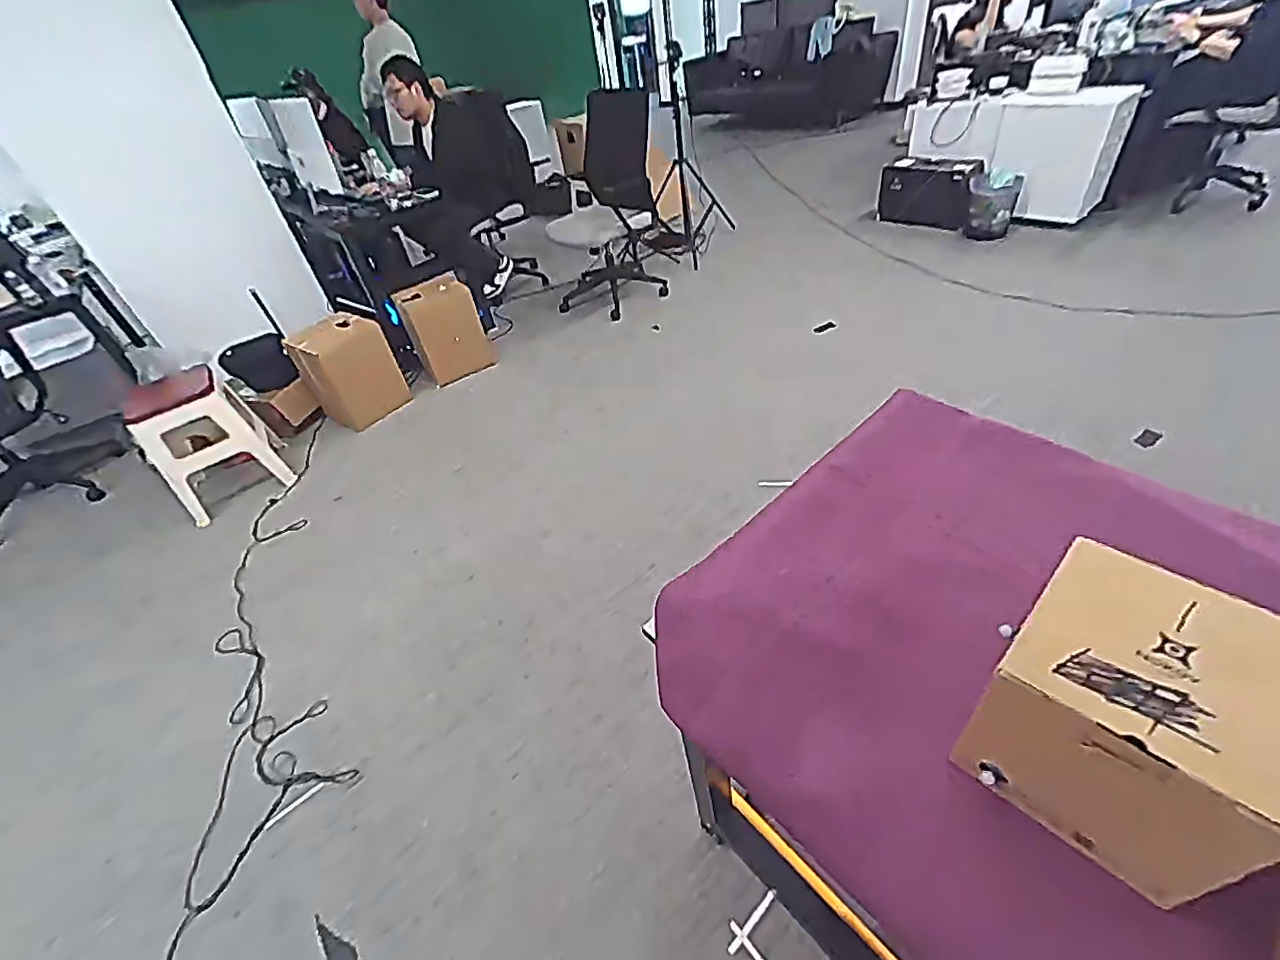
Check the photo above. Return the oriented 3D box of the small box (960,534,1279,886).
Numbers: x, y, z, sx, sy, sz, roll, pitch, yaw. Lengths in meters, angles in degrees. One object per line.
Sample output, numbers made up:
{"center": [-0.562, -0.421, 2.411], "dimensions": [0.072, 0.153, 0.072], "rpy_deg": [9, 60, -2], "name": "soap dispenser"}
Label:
{"center": [0.396, 0.185, 0.451], "dimensions": [0.179, 0.176, 0.168], "rpy_deg": [-36, 47, -28], "name": "small box"}
